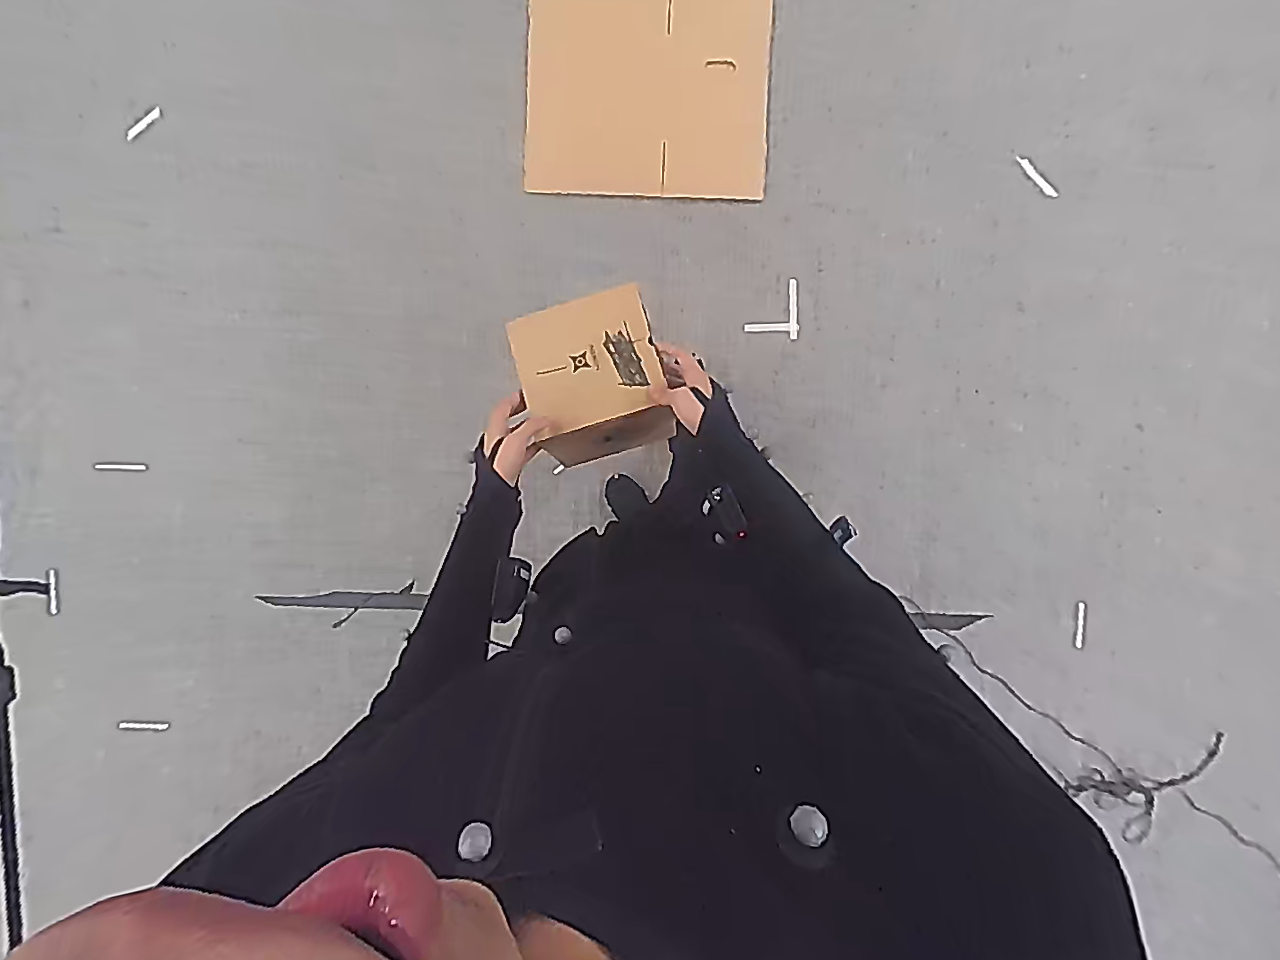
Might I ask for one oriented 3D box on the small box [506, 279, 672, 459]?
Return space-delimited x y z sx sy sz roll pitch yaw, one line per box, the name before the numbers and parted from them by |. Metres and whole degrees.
small box | -0.060 -0.140 0.742 0.179 0.176 0.168 -17 79 2
